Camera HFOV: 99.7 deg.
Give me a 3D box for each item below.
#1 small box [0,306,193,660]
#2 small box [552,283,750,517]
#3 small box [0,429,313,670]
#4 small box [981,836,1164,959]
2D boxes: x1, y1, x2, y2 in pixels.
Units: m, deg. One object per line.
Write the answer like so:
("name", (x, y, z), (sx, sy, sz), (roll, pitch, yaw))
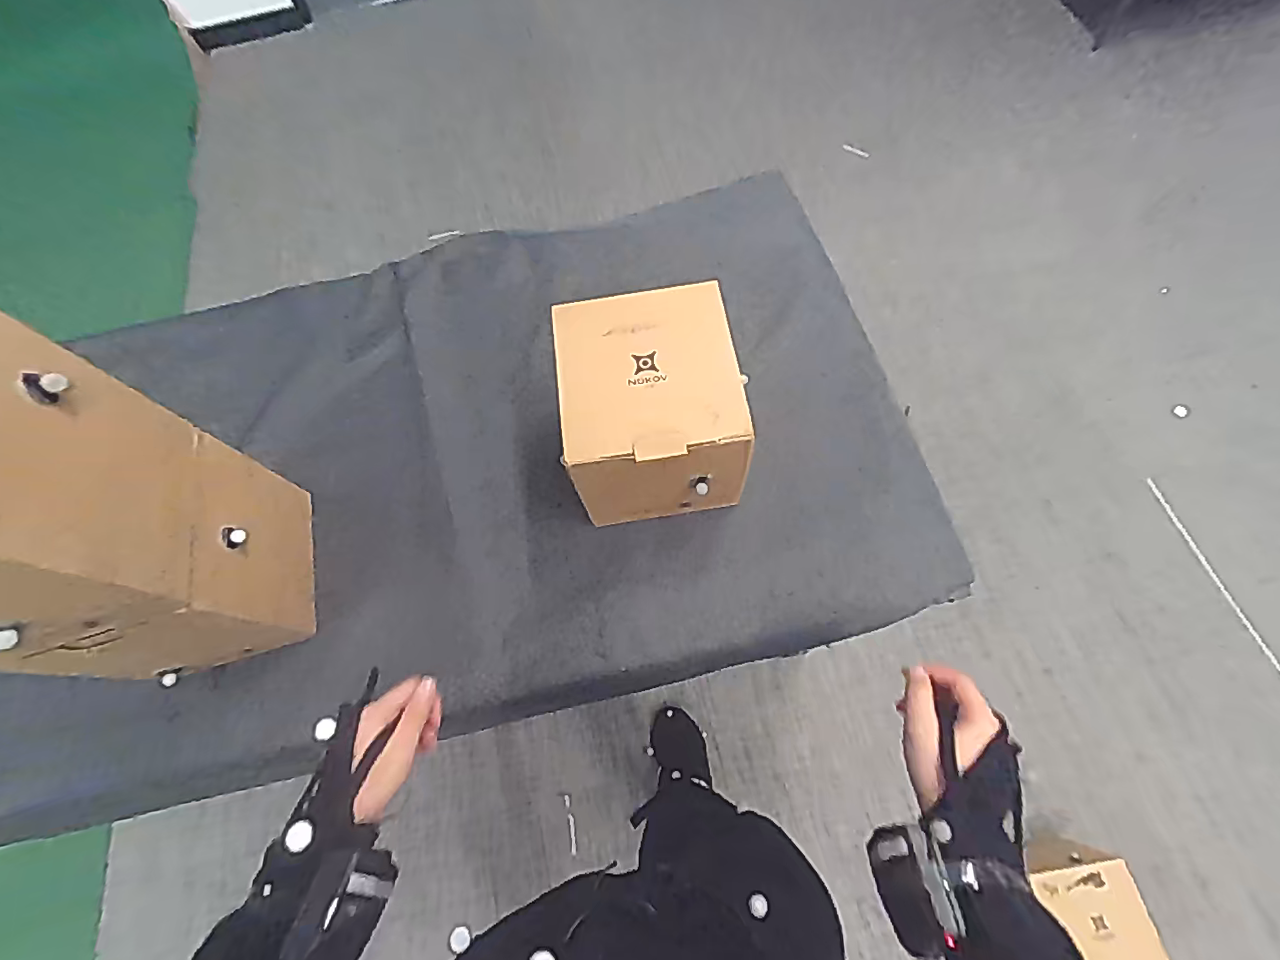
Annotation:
("small box", (-0.465, 0.013, 0.386), (0.168, 0.176, 0.179), (-18, 67, -3))
("small box", (0.010, -0.070, 0.565), (0.168, 0.176, 0.179), (-9, 66, 0))
("small box", (-0.453, 0.080, 0.536), (0.168, 0.176, 0.179), (-16, 65, -3))
("small box", (0.744, 0.754, 0.944), (0.168, 0.176, 0.179), (-10, 68, 1))
